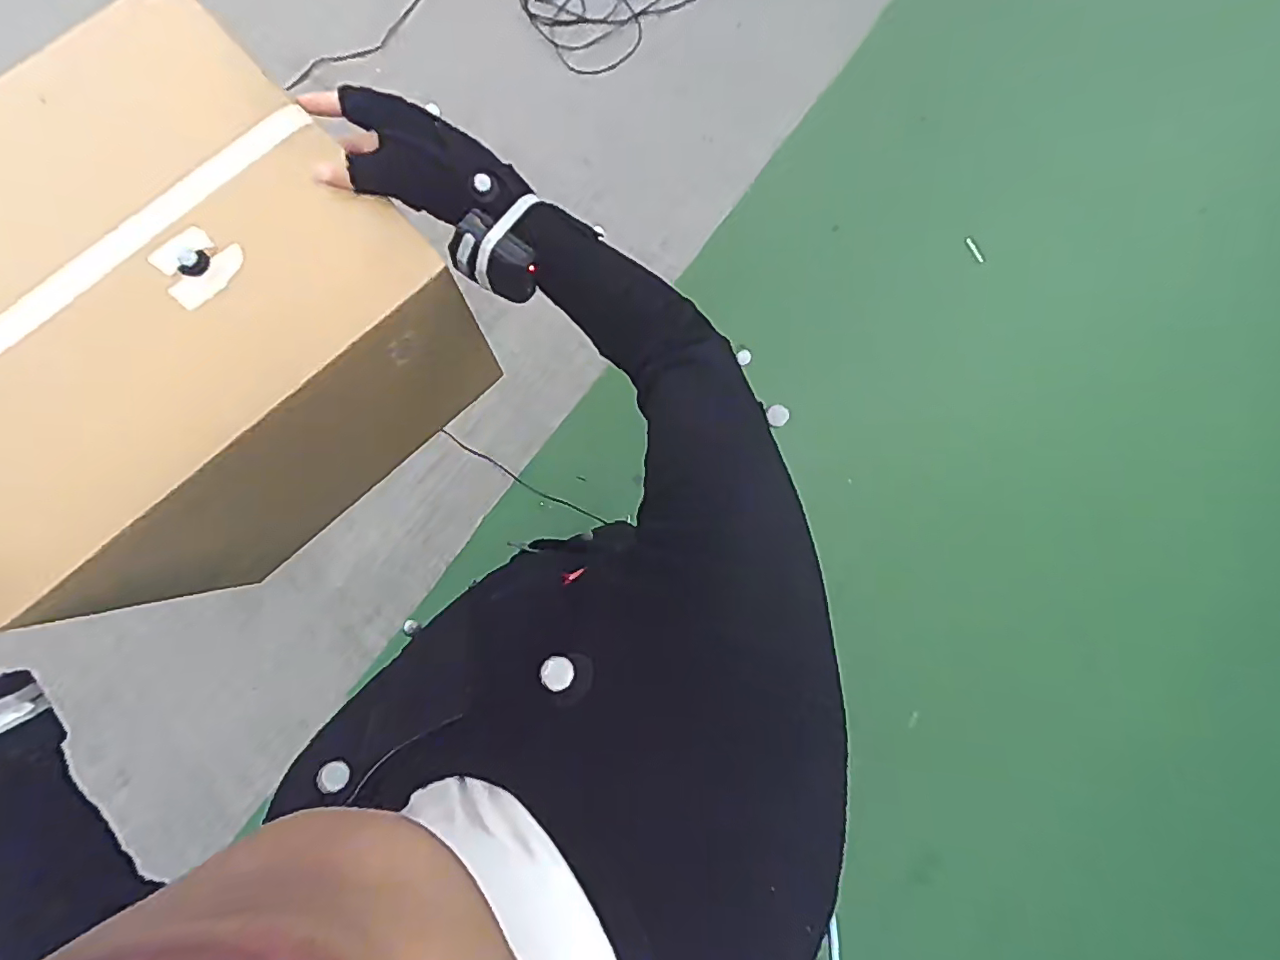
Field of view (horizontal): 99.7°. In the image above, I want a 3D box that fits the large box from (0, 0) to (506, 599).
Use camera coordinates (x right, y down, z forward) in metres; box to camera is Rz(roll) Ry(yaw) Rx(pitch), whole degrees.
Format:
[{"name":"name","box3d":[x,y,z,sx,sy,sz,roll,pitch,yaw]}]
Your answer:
[{"name":"large box","box3d":[-0.407,-0.142,0.555,0.408,0.320,0.320,-43,91,-8]}]
